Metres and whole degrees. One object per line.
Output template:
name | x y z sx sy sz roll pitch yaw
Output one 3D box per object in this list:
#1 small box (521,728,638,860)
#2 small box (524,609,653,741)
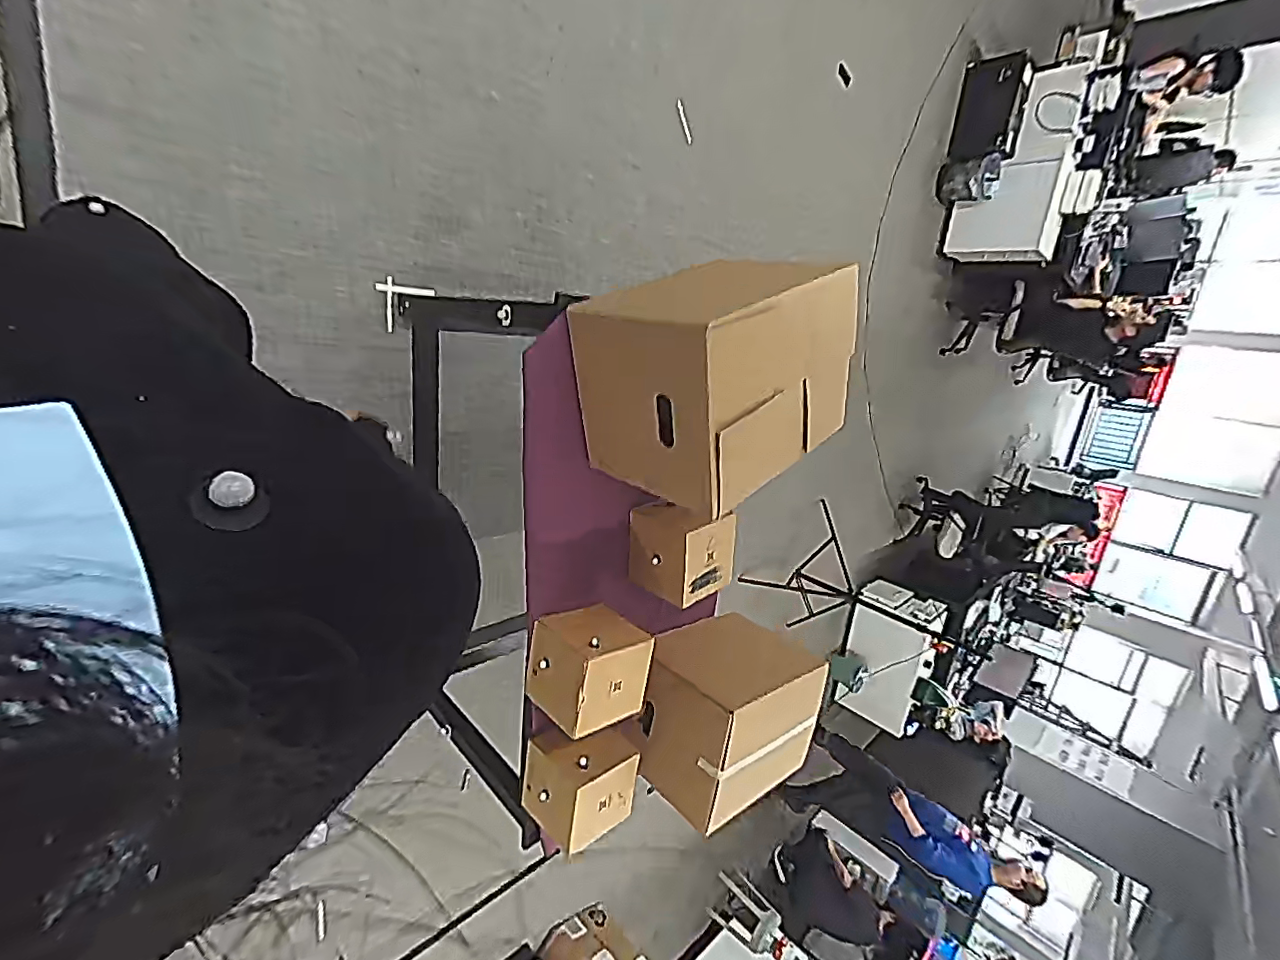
small box | -0.131 0.638 1.146 0.179 0.176 0.168 -5 109 -47
small box | -0.104 0.373 1.076 0.179 0.176 0.168 -1 106 -45
